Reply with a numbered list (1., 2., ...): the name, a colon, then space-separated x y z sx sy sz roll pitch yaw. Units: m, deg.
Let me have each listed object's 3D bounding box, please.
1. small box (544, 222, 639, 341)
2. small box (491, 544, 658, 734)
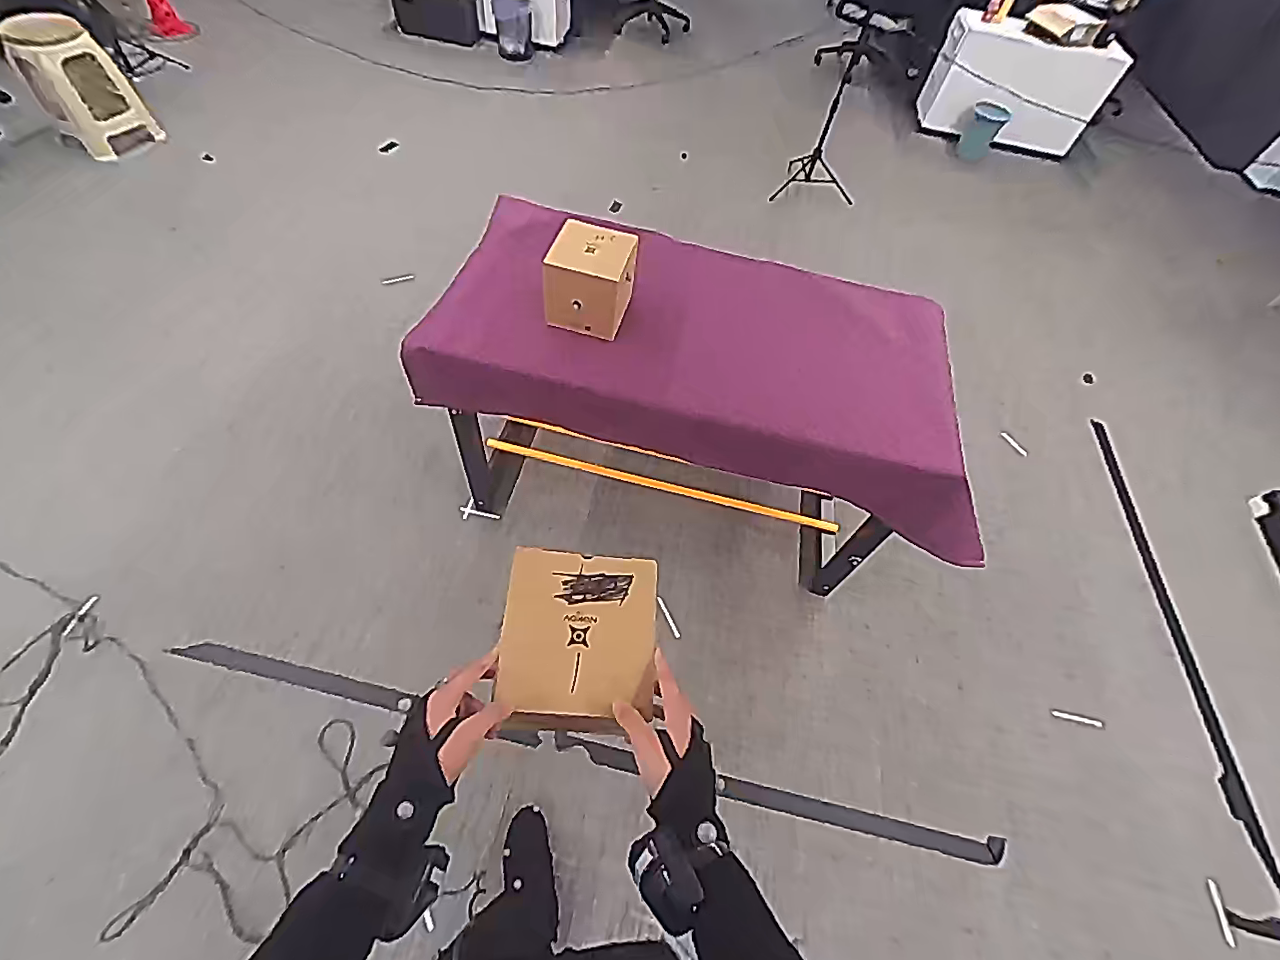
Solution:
1. small box: -0.109 -0.447 1.233 0.168 0.176 0.179 16 56 2
2. small box: -0.077 0.197 0.650 0.168 0.176 0.179 7 60 -7
